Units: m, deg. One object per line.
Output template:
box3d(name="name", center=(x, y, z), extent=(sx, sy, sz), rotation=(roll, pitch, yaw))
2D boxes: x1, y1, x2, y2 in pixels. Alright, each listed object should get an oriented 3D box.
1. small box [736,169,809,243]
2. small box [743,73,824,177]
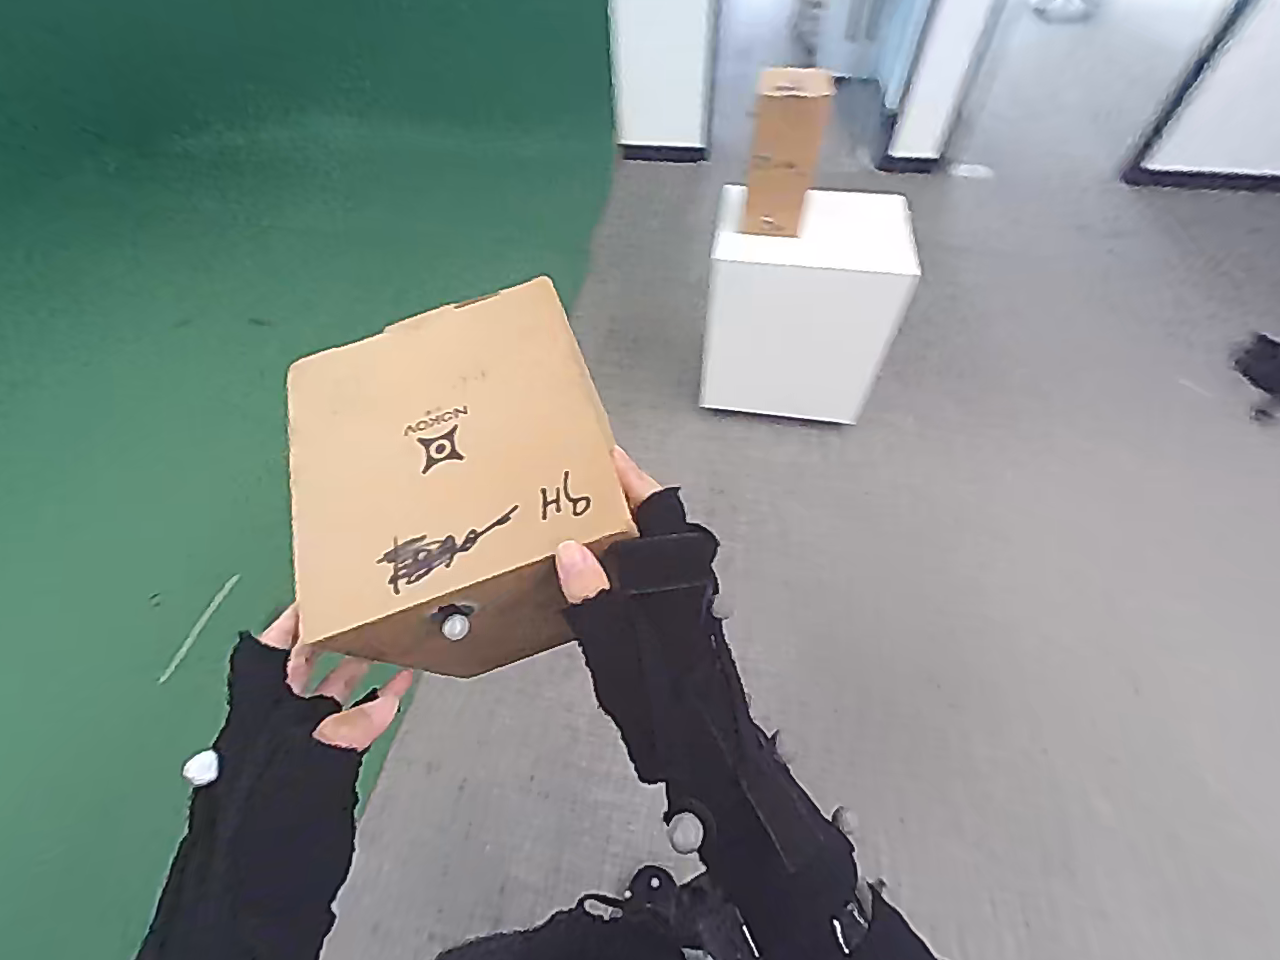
box3d(name="small box", center=(0.353, -0.770, 1.458), extent=(0.168, 0.176, 0.179), rotation=(6, 56, 7))
box3d(name="small box", center=(0.349, -0.868, 1.326), extent=(0.168, 0.176, 0.179), rotation=(8, 54, 8))
